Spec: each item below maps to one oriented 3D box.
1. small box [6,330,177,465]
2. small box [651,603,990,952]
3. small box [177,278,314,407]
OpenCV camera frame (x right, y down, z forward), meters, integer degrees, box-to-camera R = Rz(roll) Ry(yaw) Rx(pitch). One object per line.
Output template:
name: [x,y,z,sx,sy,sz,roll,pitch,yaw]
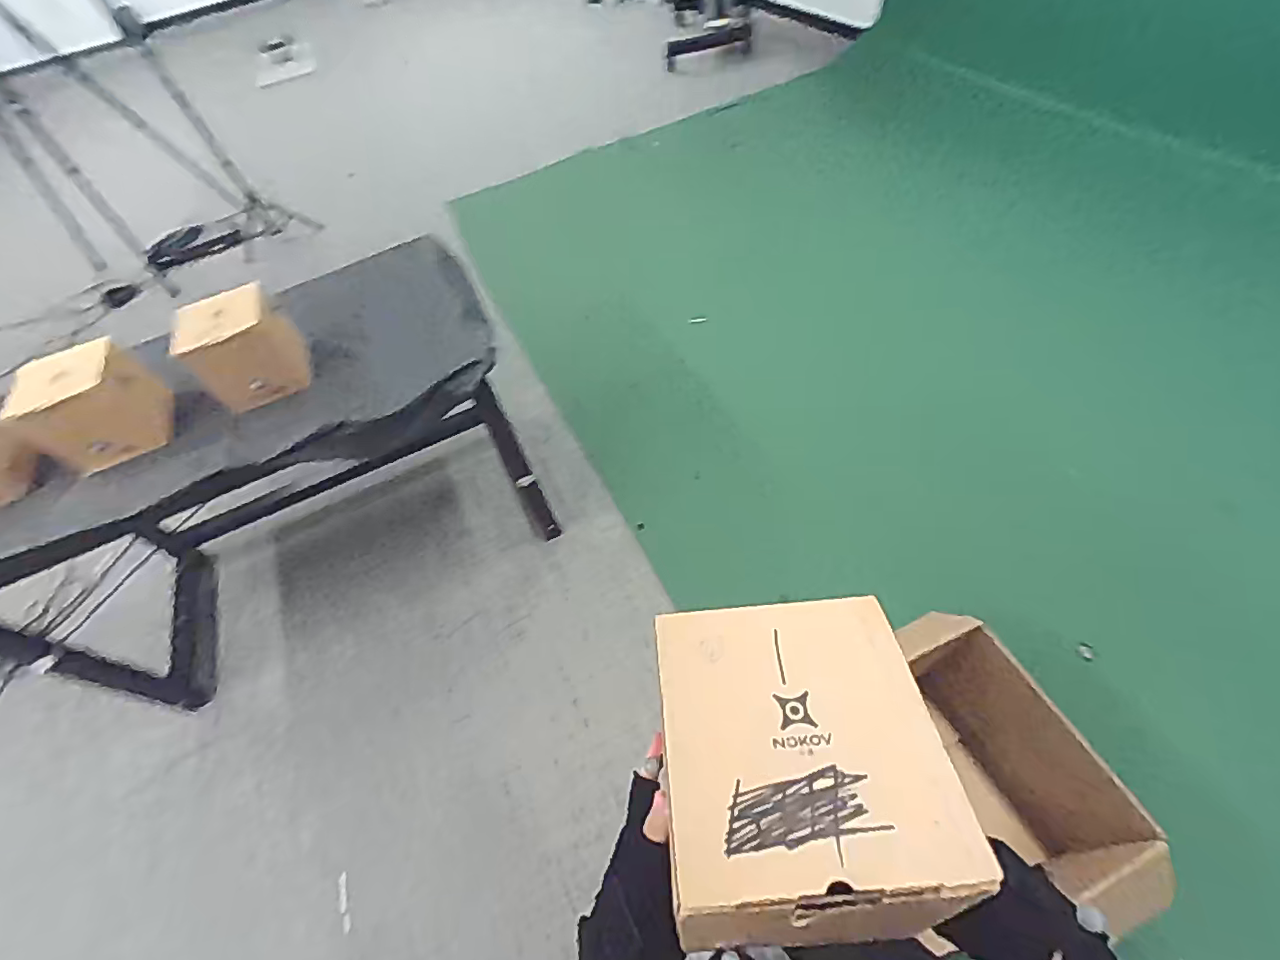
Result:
small box: [-1.085,-0.164,1.091,0.168,0.176,0.179,-24,55,-9]
small box: [0.099,0.214,0.387,0.168,0.176,0.179,-5,42,-1]
small box: [-0.818,-0.287,1.138,0.168,0.176,0.179,-24,55,-8]
